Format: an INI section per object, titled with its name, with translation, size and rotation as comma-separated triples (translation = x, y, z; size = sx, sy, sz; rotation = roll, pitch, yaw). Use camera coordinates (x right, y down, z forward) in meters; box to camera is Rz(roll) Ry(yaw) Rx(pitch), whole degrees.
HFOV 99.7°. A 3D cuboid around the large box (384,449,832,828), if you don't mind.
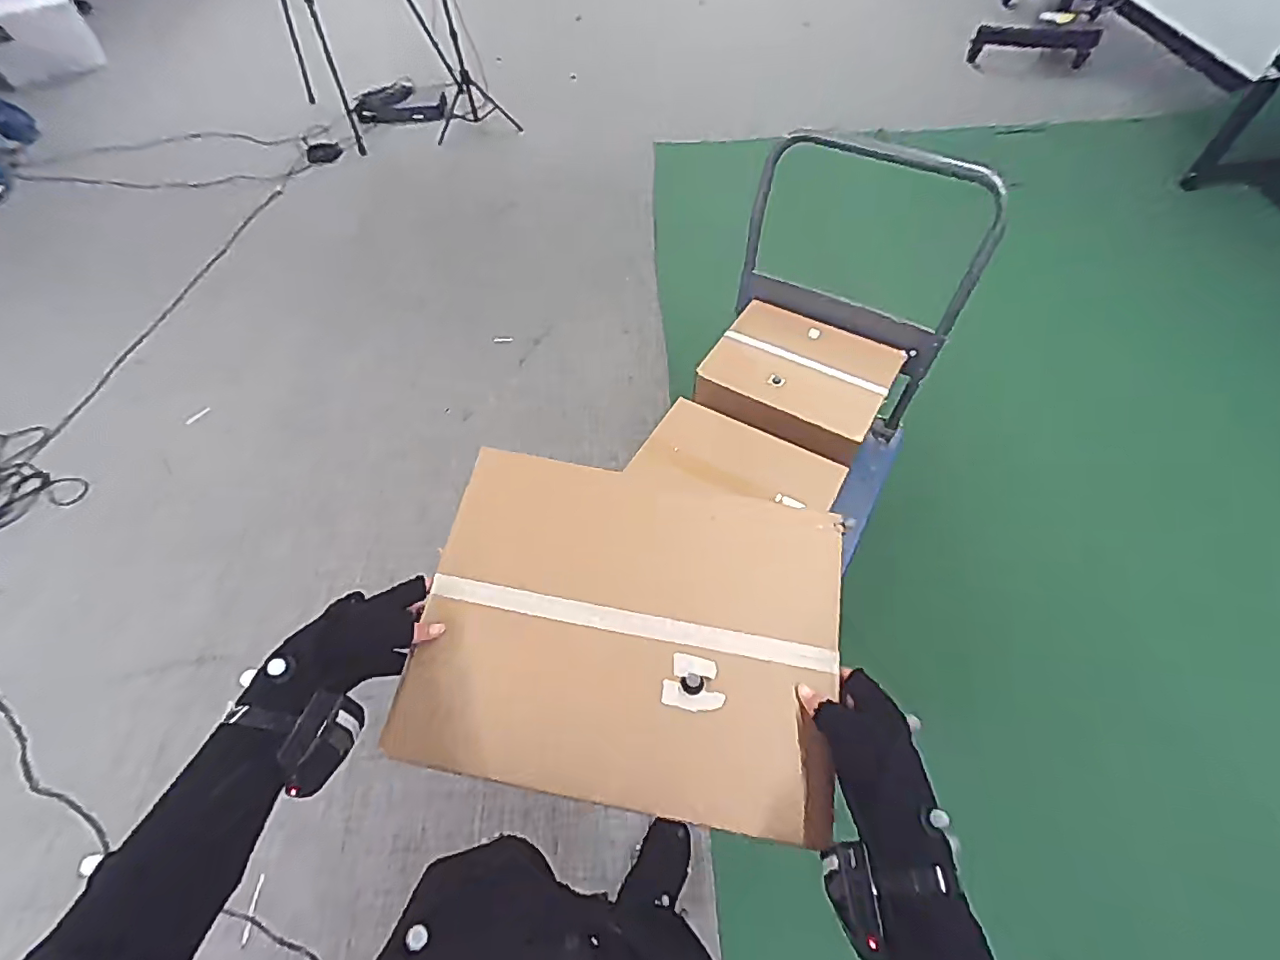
[large box]
translation = -0.019, 0.196, 0.671
size = 0.408, 0.320, 0.320
rotation = 11, 66, 2
